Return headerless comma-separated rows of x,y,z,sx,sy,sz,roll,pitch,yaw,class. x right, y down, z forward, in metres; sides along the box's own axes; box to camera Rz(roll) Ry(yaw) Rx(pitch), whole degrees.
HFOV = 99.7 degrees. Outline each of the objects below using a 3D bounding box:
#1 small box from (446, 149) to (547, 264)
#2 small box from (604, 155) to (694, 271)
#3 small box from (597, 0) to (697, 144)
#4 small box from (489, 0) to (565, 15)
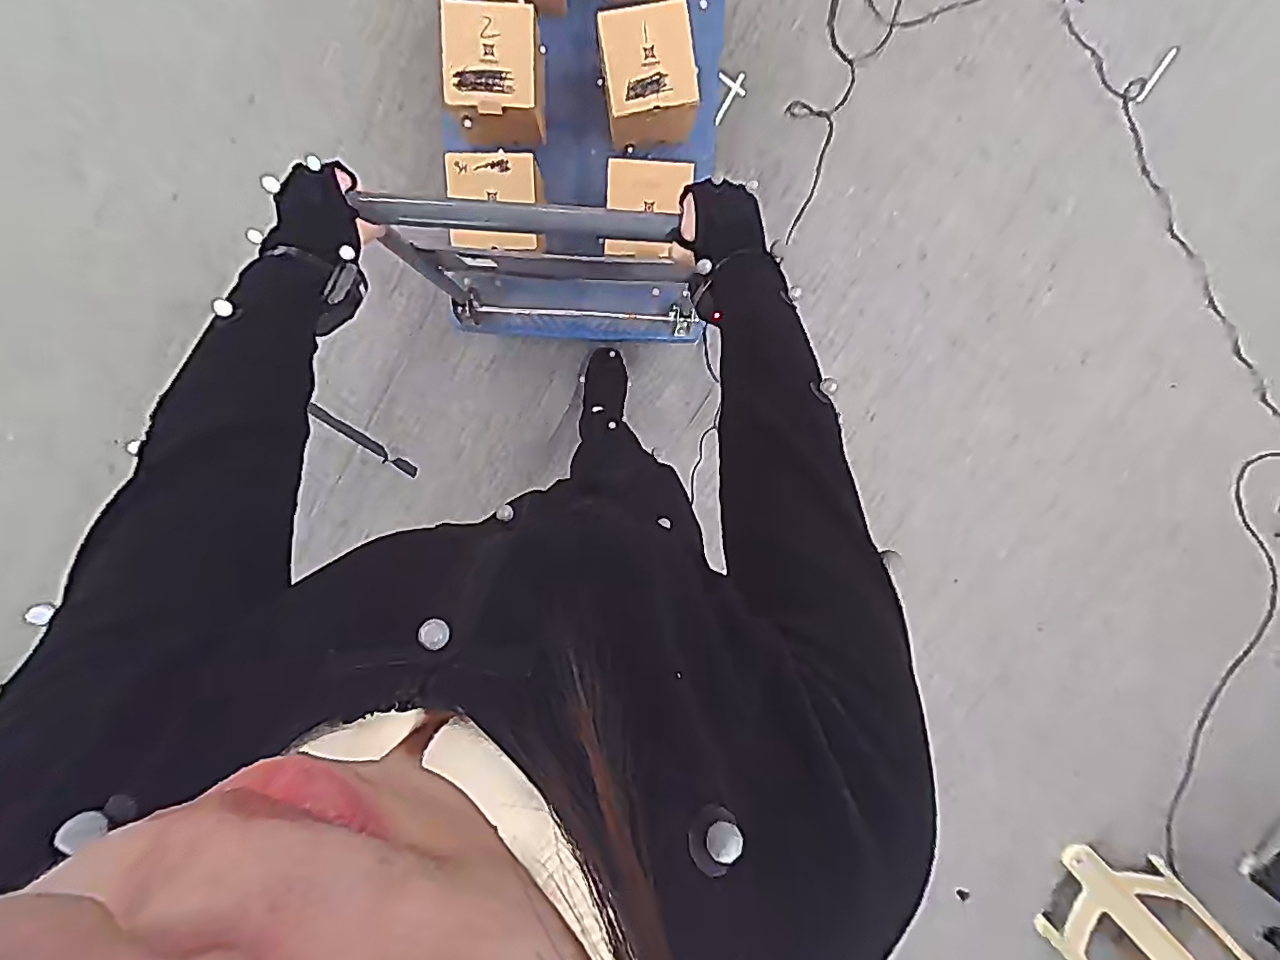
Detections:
-0.283,-0.546,1.101,0.168,0.176,0.179,-1,101,-3,small box
0.014,-0.540,1.117,0.168,0.176,0.179,3,99,-4,small box
0.013,-0.793,1.070,0.168,0.176,0.179,-10,100,-1,small box
-0.225,-1.033,1.015,0.168,0.176,0.179,4,101,-3,small box
